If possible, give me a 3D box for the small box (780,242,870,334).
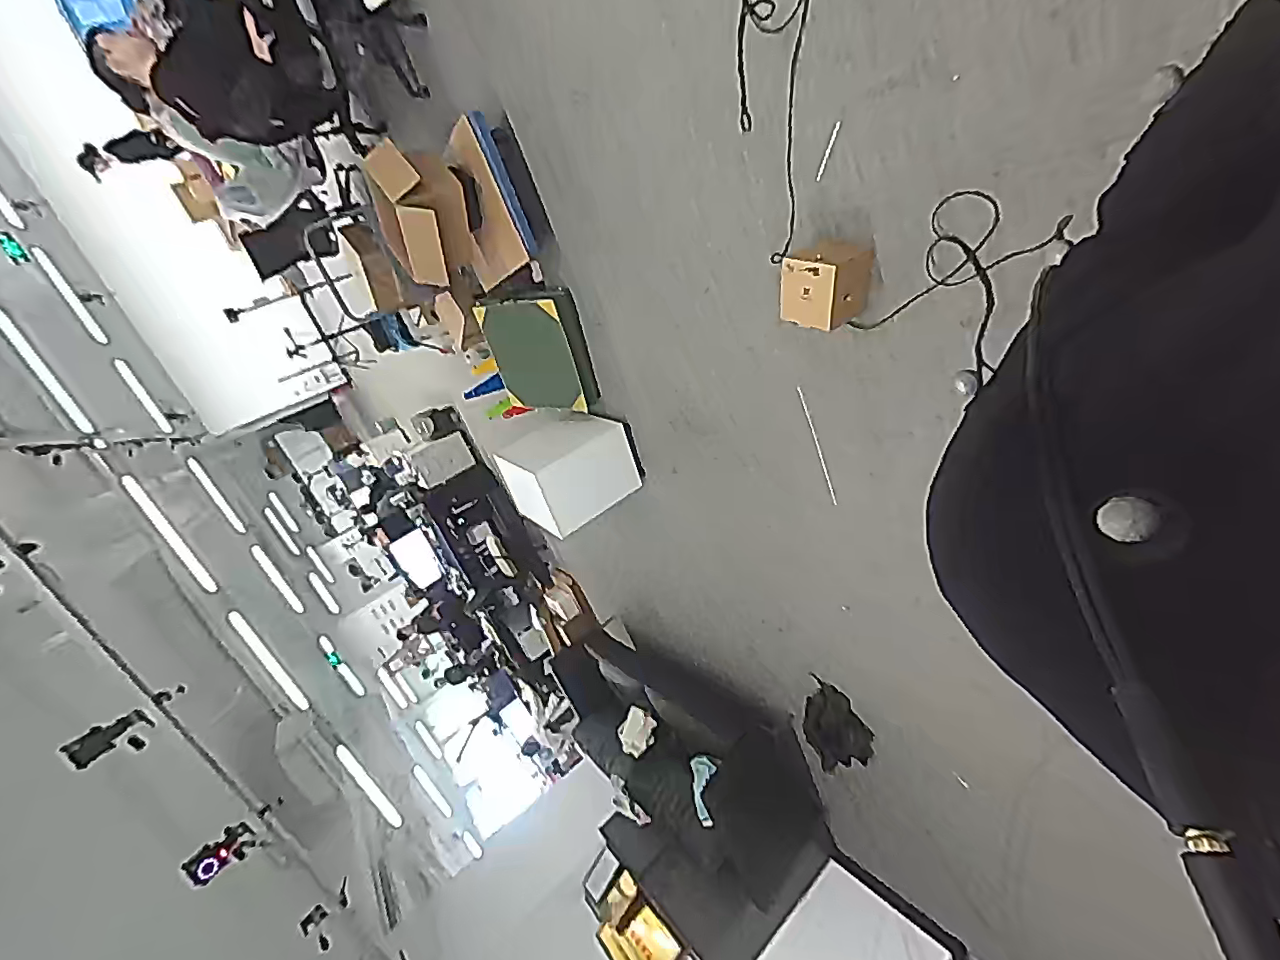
[{"bbox_3d":[0.501,-0.526,1.469,0.168,0.176,0.179,33,144,41],"label":"small box"}]
